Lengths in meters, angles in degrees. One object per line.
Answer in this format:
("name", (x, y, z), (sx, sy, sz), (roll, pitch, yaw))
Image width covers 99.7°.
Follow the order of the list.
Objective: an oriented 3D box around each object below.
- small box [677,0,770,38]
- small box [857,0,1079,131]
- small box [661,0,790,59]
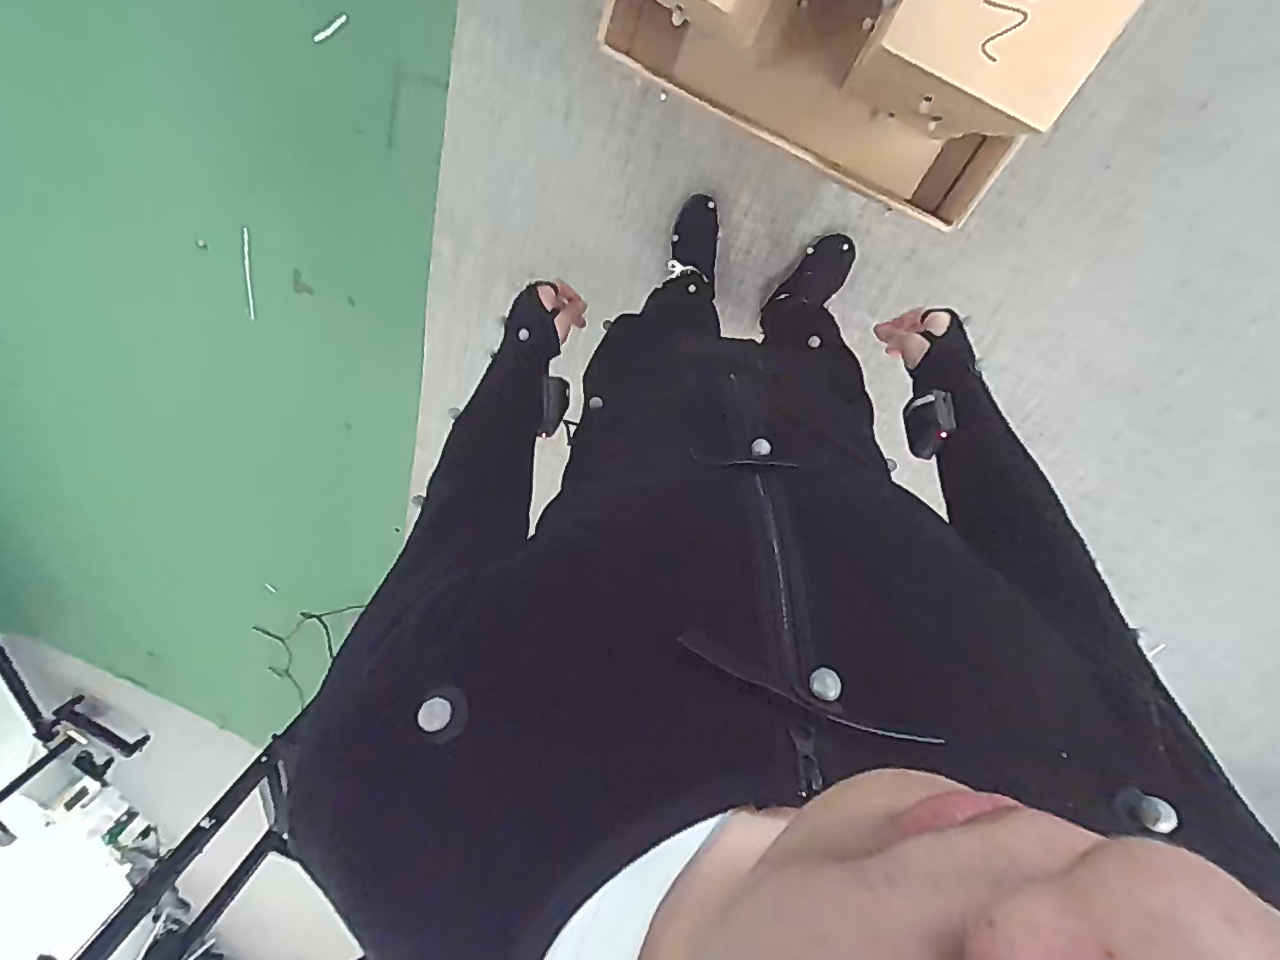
("small box", (0.065, -0.552, 0.497), (0.179, 0.176, 0.168), (32, 124, -5))
("small box", (0.368, -0.526, 0.616), (0.168, 0.176, 0.179), (27, 124, -1))
("small box", (0.112, -0.635, 0.630), (0.168, 0.176, 0.179), (30, 123, -2))
